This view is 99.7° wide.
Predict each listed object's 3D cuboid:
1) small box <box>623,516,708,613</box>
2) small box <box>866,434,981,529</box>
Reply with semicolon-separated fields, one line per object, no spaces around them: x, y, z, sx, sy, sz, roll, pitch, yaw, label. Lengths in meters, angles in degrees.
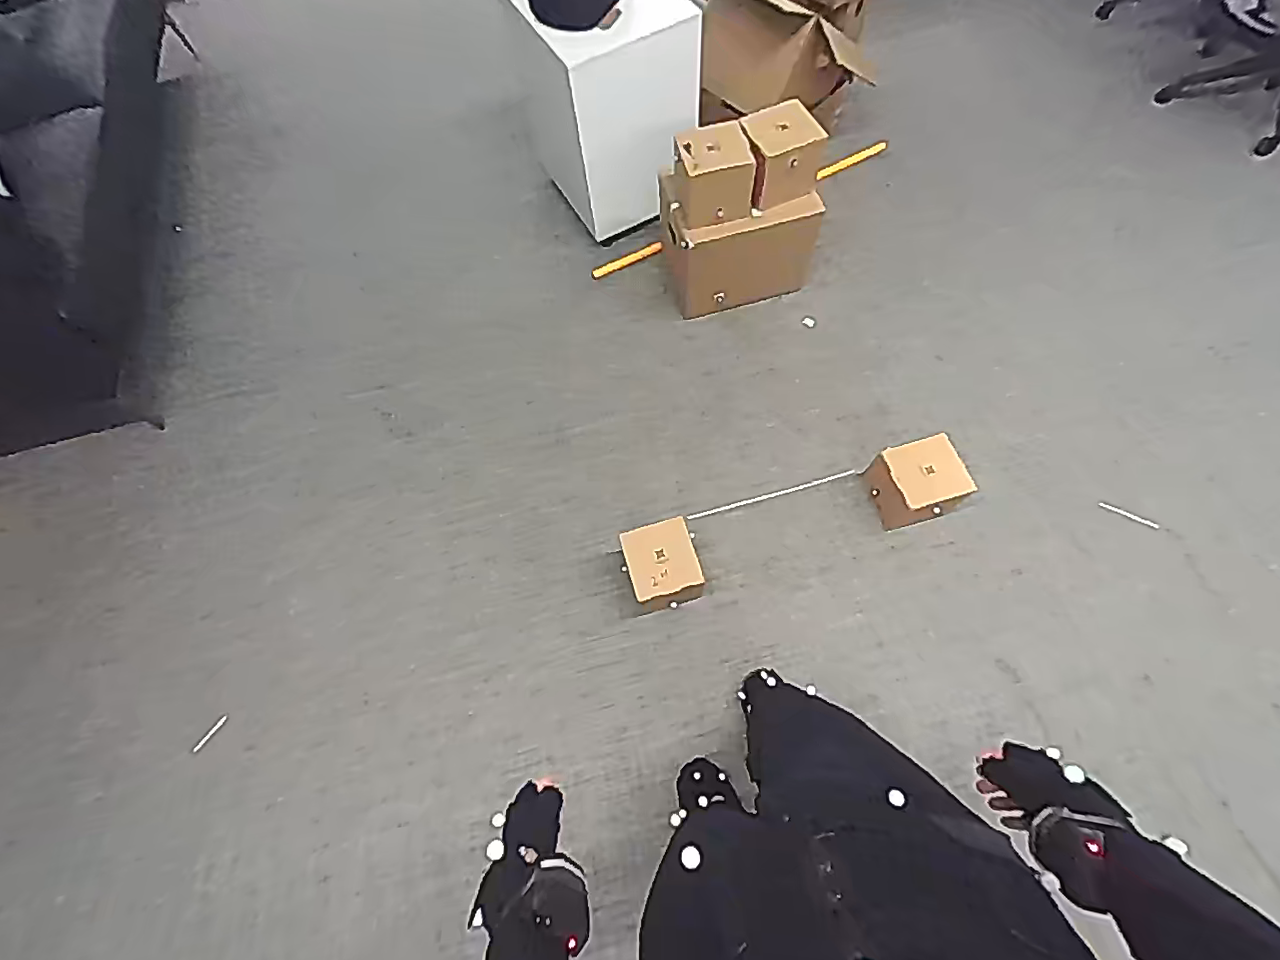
0.061;0.215;1.346;0.168;0.176;0.179;-17;67;-2;small box
0.714;0.009;1.382;0.179;0.176;0.168;-17;67;-2;small box
